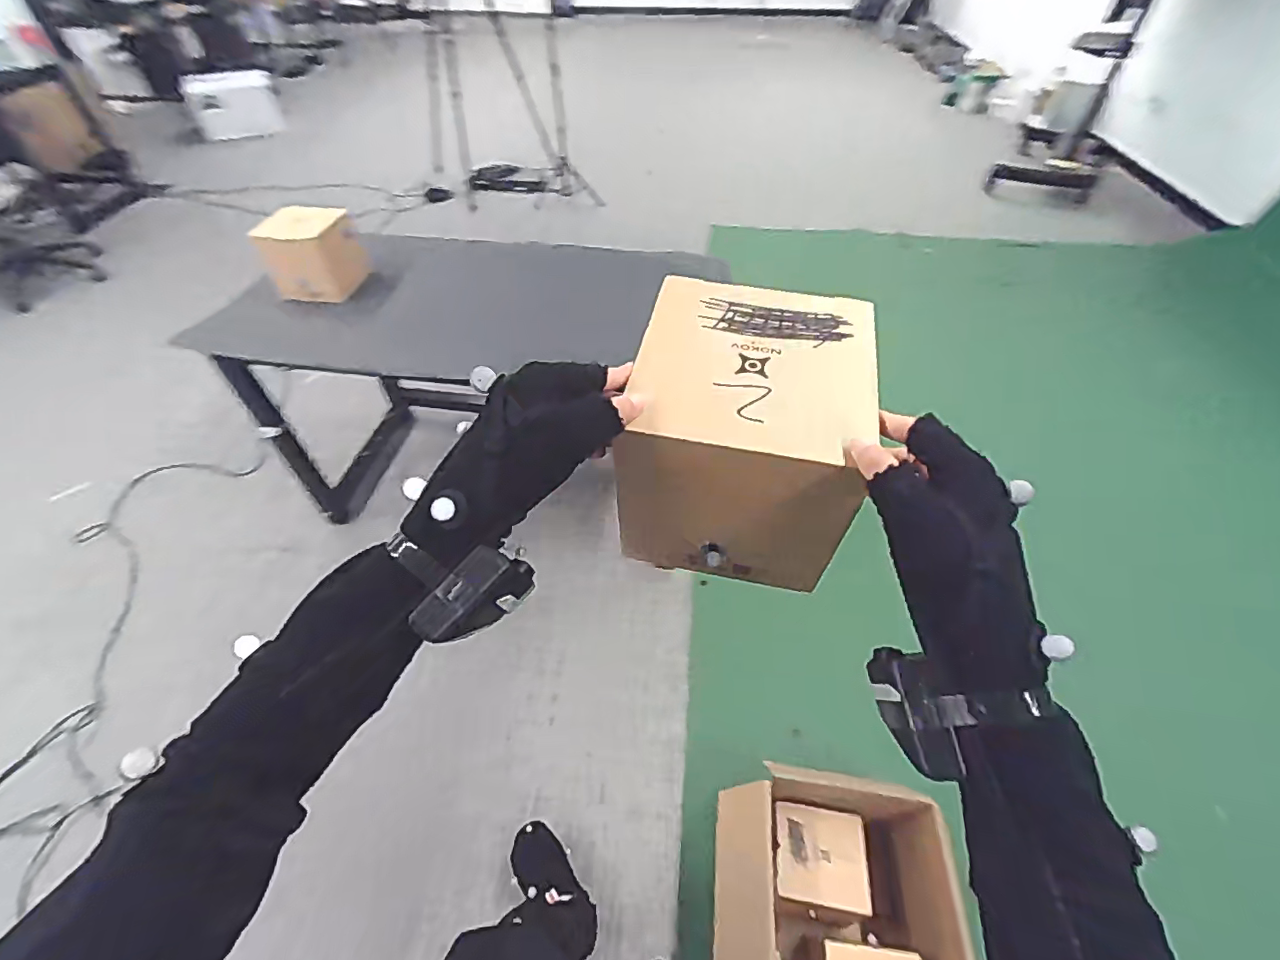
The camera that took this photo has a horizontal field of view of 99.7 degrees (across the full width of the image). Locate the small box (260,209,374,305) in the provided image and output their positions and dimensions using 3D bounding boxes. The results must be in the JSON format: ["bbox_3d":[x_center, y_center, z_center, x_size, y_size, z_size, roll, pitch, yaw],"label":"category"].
[{"bbox_3d":[-0.817,-0.574,1.393,0.168,0.176,0.179,5,48,5],"label":"small box"}]
